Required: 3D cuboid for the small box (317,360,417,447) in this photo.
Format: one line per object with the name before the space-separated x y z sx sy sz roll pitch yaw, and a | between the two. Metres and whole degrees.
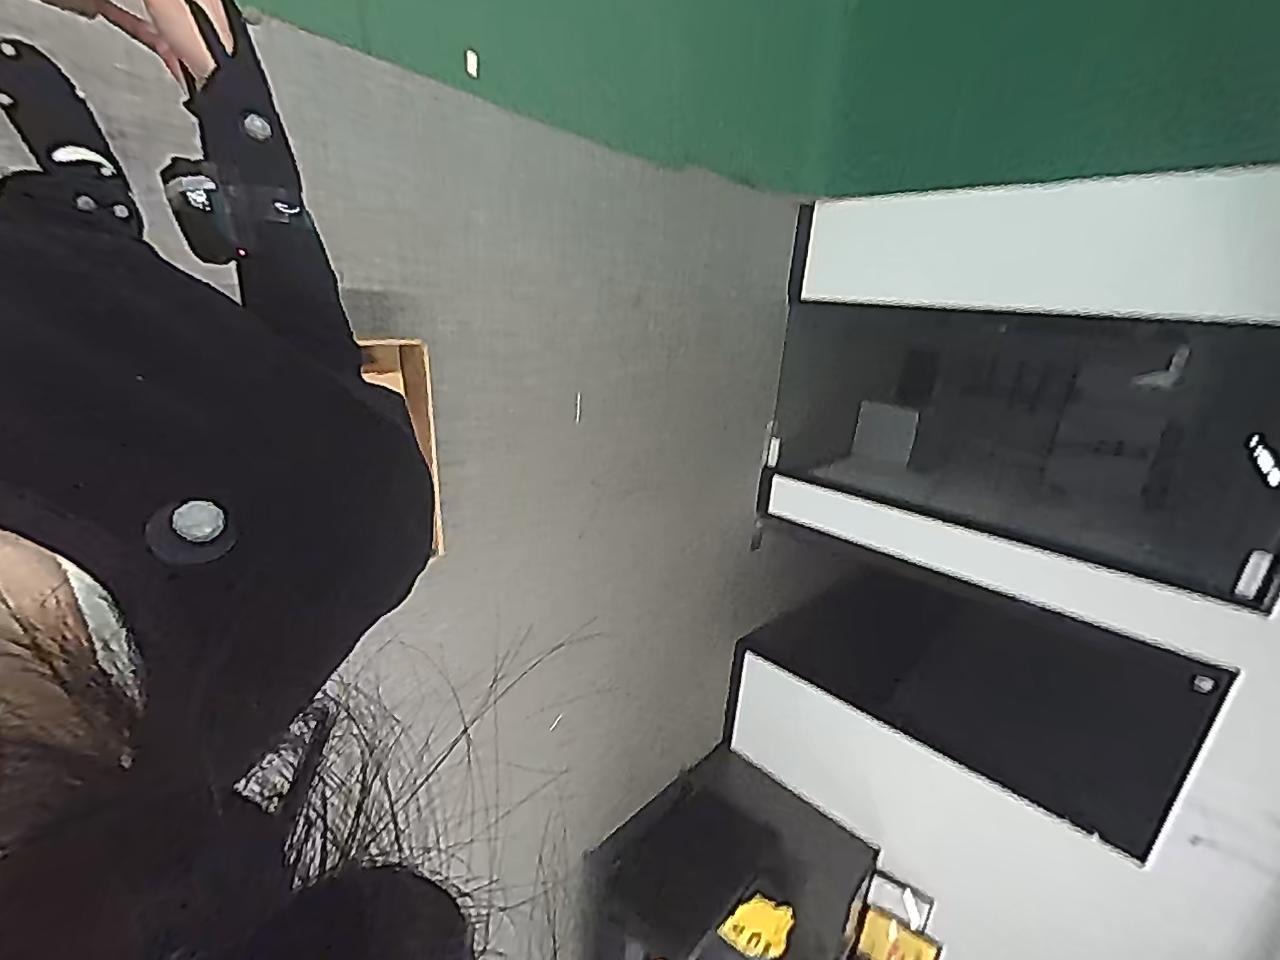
small box | -0.674 -0.197 1.333 0.168 0.176 0.179 -18 120 -40
